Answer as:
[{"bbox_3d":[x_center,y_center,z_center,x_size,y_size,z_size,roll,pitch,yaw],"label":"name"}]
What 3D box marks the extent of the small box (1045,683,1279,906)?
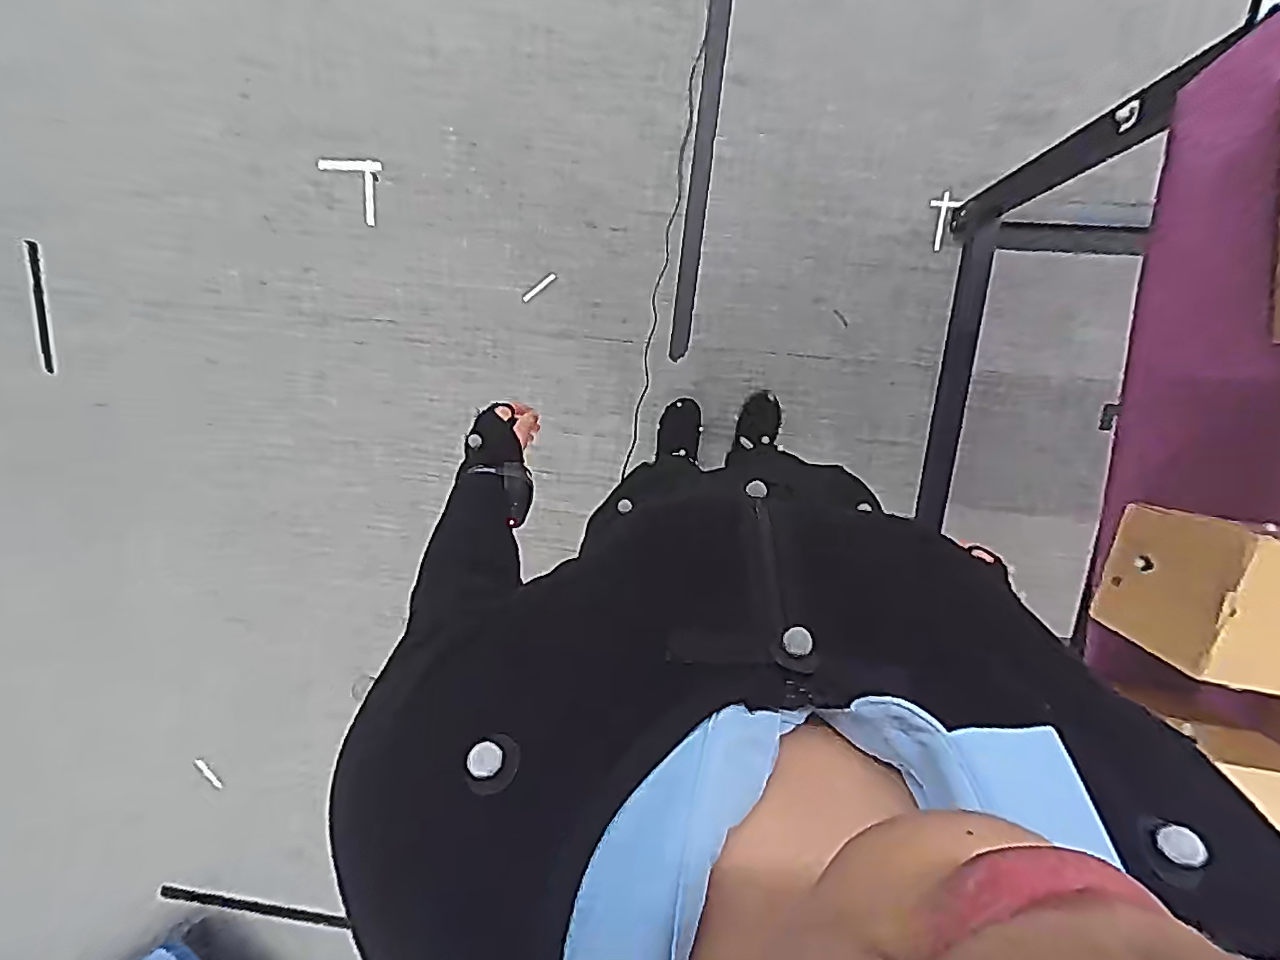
[{"bbox_3d":[0.671,0.383,0.688,0.179,0.176,0.168,9,102,2],"label":"small box"}]
